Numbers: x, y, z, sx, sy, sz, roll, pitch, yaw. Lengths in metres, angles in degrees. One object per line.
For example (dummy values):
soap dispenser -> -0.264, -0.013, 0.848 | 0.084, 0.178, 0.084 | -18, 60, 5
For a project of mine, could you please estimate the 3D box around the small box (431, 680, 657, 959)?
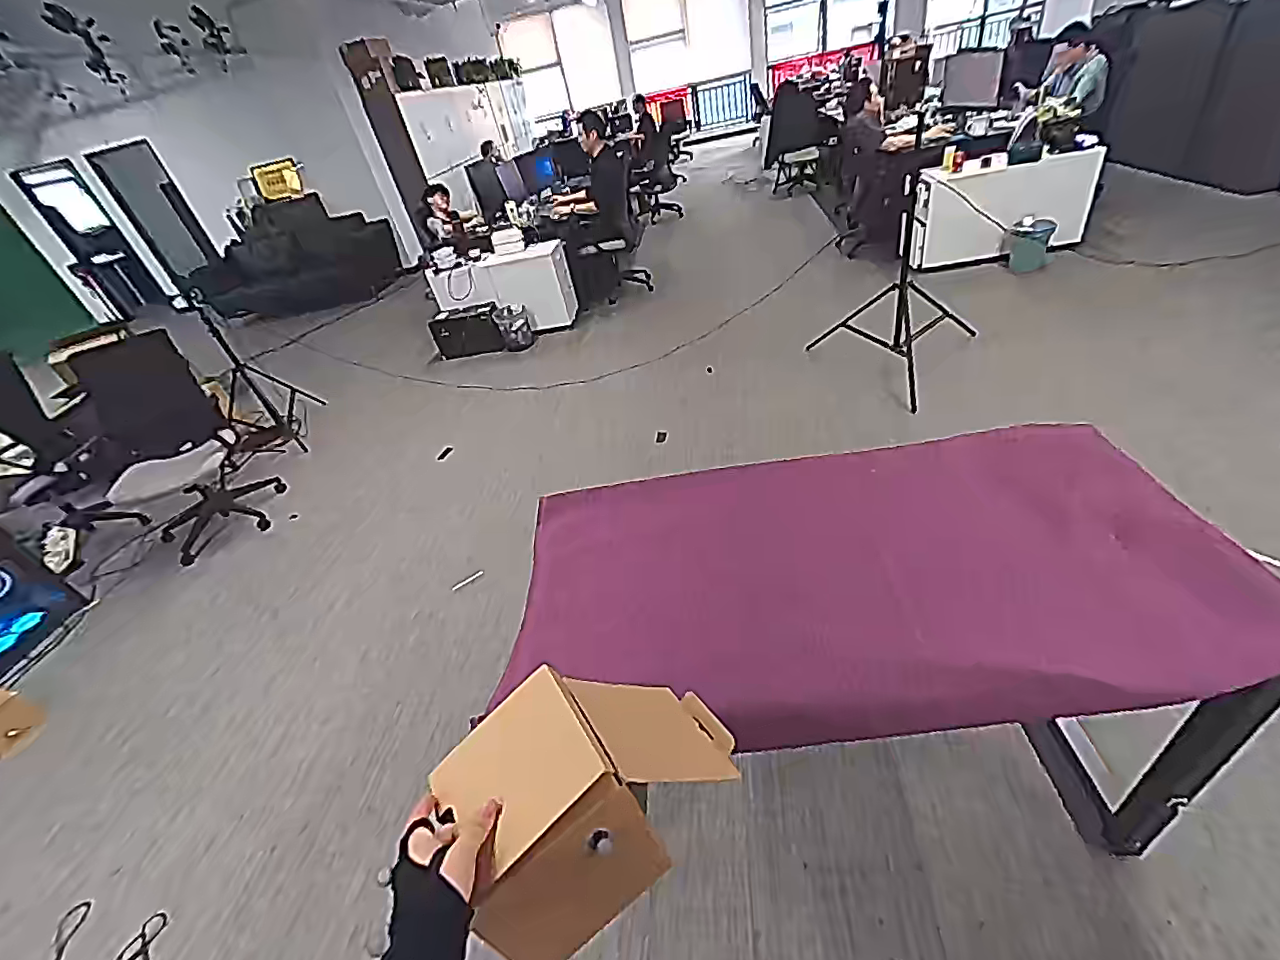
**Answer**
small box -> -0.098, 0.370, 0.595 | 0.179, 0.176, 0.168 | -31, 30, -17
